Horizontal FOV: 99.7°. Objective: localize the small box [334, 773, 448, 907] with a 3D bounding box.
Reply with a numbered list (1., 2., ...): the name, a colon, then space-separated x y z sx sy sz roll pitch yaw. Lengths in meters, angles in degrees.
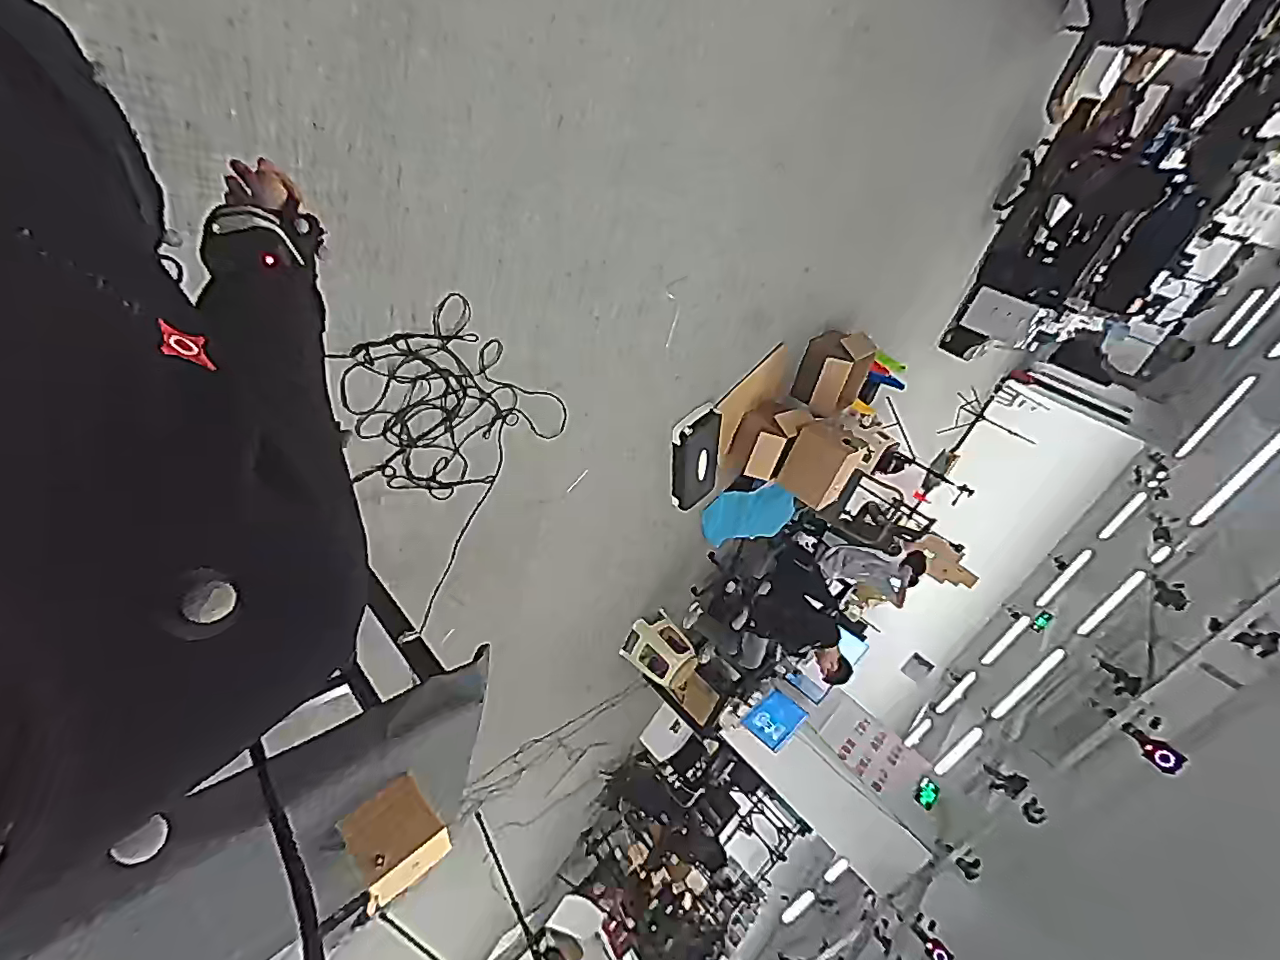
1. small box: -0.572 0.823 1.250 0.179 0.176 0.168 -28 144 -36
